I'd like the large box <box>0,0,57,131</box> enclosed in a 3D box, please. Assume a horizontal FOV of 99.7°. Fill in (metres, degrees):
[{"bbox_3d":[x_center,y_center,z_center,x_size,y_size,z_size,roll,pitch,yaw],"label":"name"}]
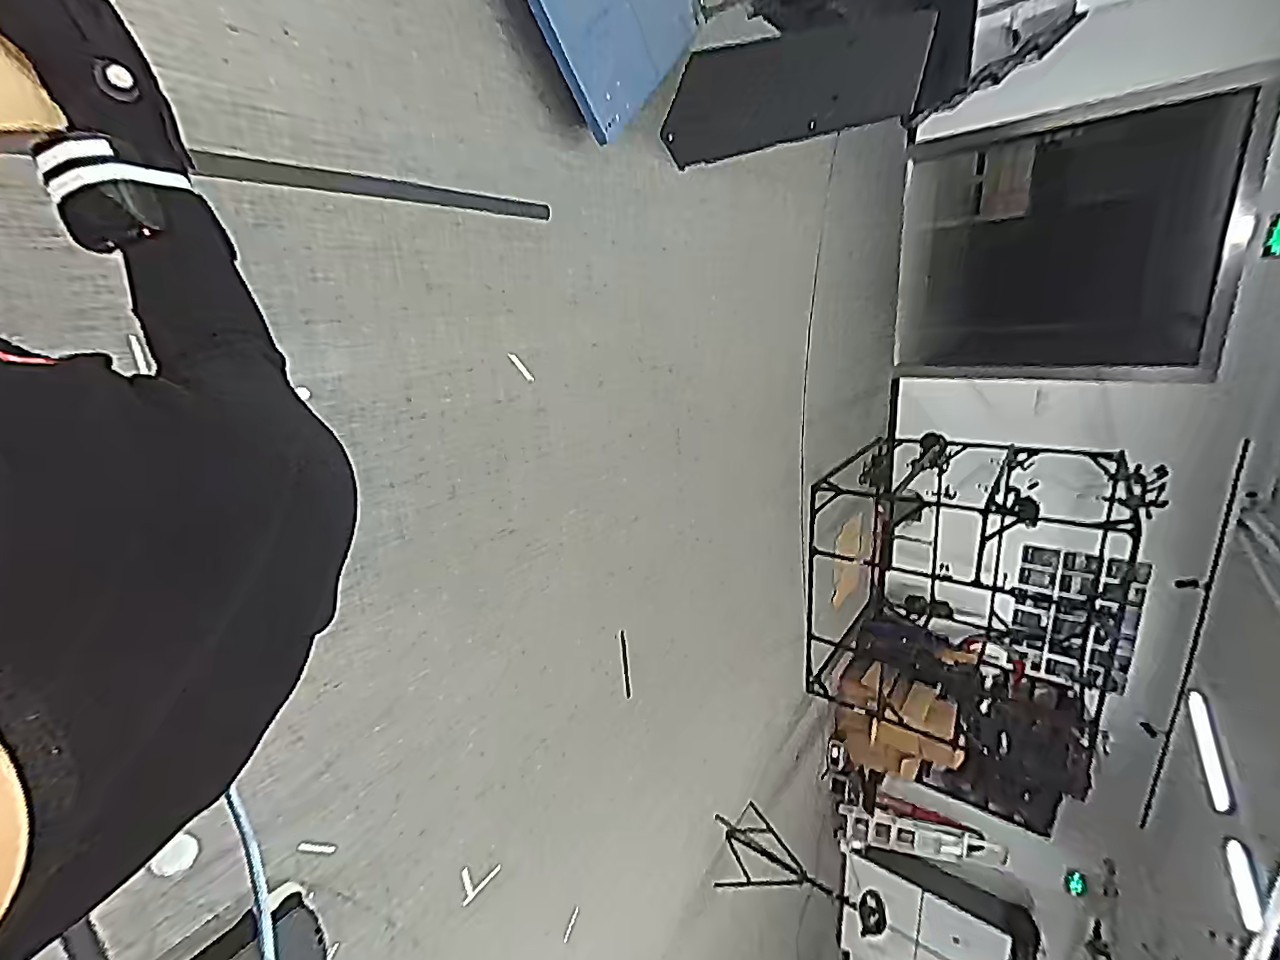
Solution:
[{"bbox_3d":[-0.655,-0.346,0.248,0.408,0.320,0.320,-37,135,-46],"label":"large box"}]
